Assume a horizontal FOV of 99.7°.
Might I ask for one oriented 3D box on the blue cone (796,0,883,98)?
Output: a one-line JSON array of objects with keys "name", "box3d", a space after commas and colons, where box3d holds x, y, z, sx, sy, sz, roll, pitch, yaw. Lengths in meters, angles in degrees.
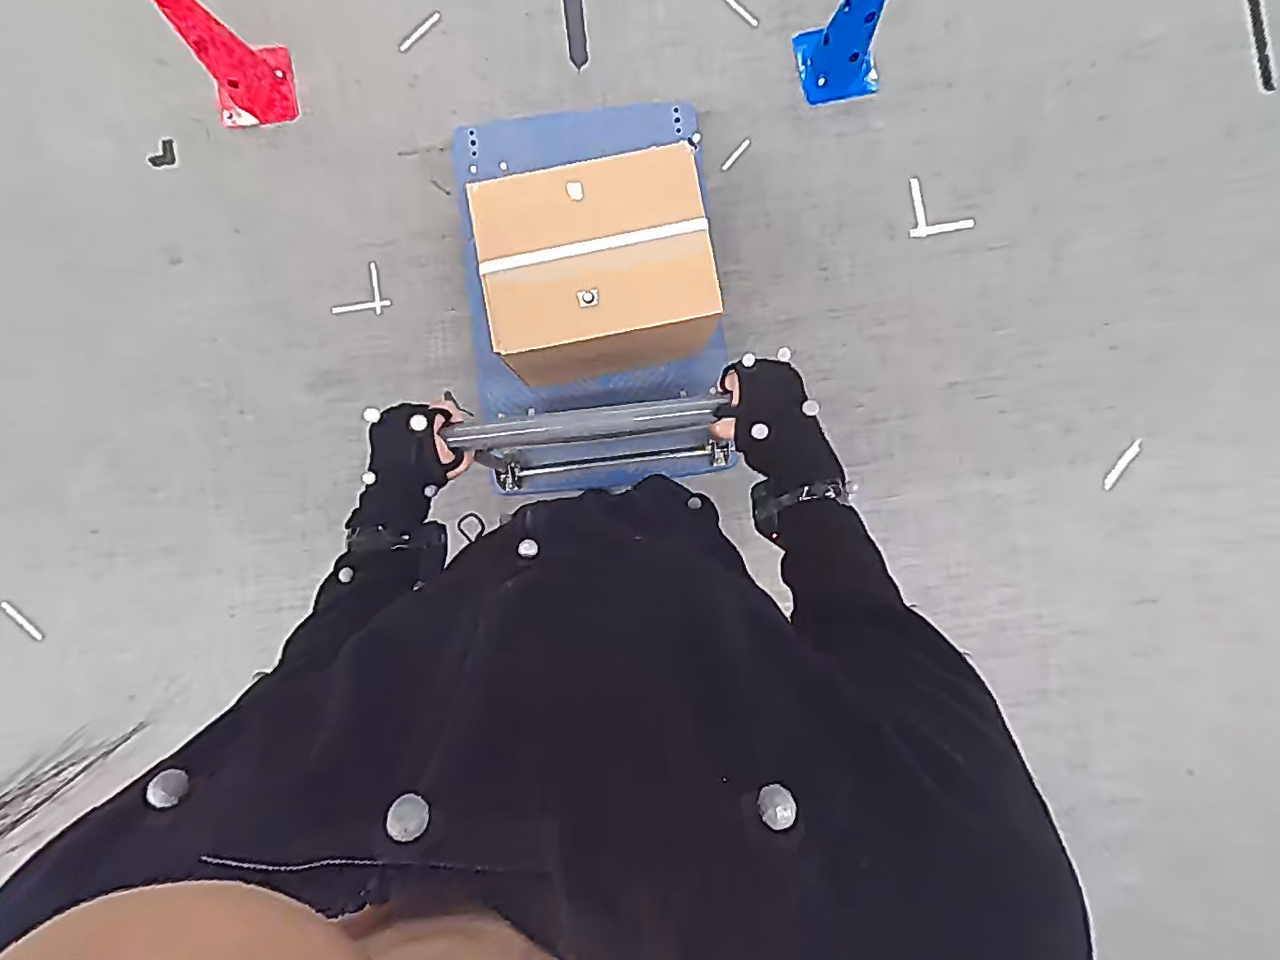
[{"name": "blue cone", "box3d": [0.530, -1.132, 1.290, 0.193, 0.380, 0.192, -11, 88, -1]}]
